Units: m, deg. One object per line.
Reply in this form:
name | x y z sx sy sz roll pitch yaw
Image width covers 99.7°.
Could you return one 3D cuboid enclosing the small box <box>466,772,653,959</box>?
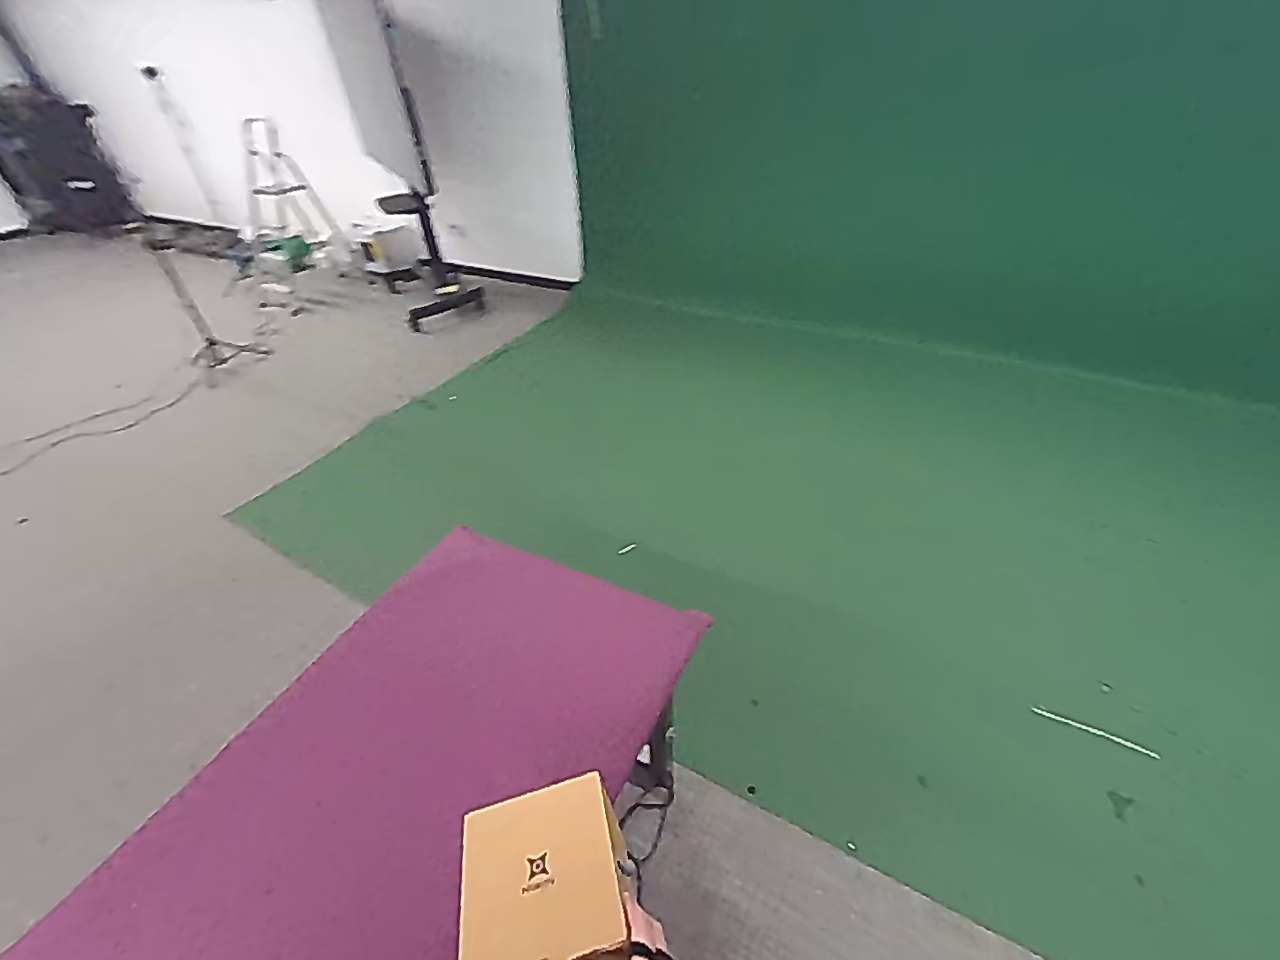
small box | -0.087 0.477 0.611 0.168 0.176 0.179 -14 33 -7
